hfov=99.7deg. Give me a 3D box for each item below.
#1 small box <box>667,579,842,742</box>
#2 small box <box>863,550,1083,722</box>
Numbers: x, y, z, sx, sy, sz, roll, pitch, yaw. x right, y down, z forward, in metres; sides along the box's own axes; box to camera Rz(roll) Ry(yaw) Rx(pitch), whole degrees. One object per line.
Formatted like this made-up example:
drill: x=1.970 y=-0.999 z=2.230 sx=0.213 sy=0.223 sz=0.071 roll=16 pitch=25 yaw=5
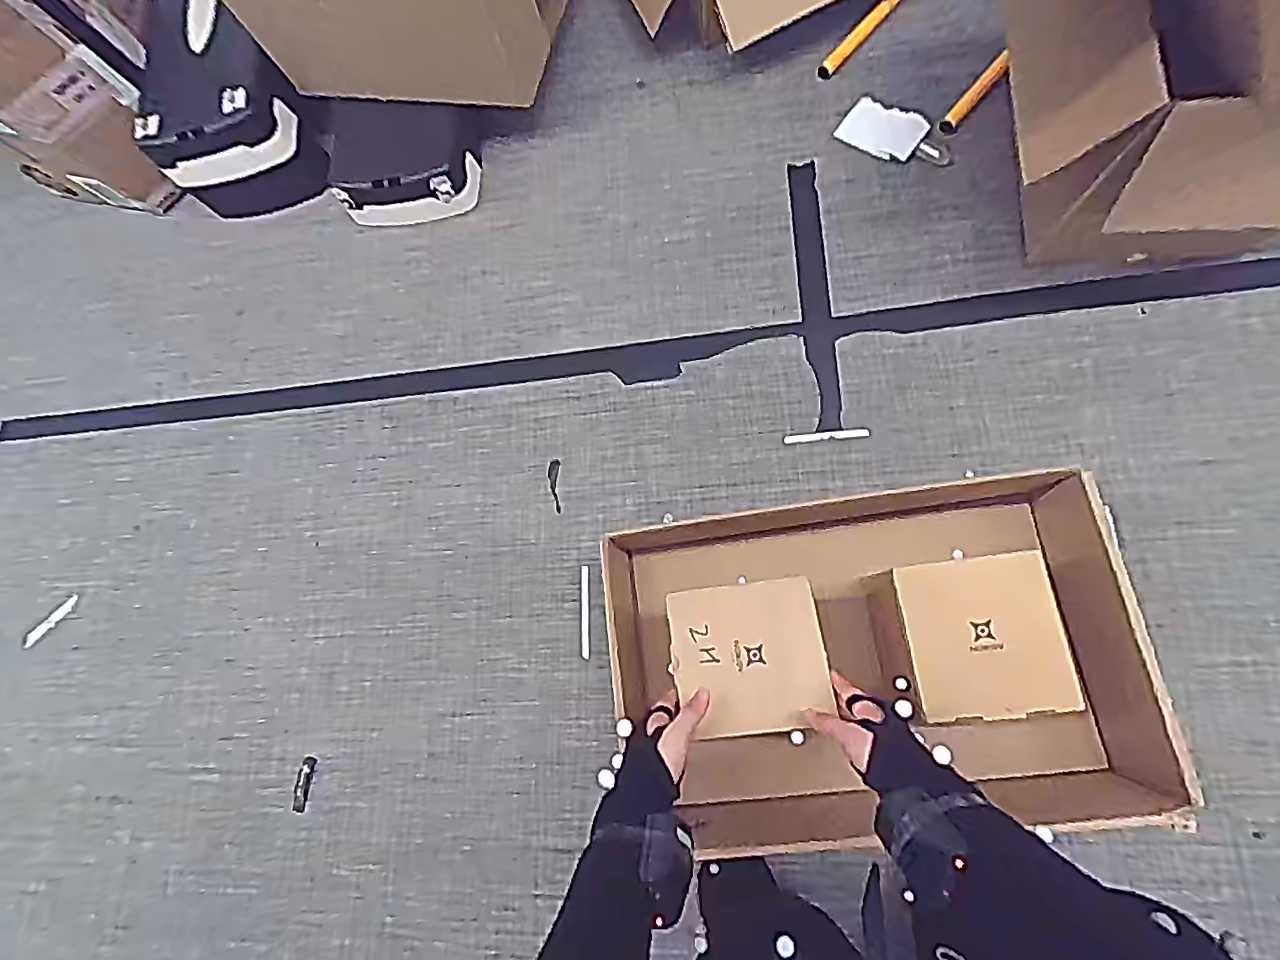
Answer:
small box: x=0.134 y=0.230 z=0.685 sx=0.179 sy=0.176 sz=0.168 roll=-8 pitch=66 yaw=6
small box: x=0.399 y=0.193 z=0.686 sx=0.168 sy=0.176 sz=0.179 roll=-9 pitch=76 yaw=8
